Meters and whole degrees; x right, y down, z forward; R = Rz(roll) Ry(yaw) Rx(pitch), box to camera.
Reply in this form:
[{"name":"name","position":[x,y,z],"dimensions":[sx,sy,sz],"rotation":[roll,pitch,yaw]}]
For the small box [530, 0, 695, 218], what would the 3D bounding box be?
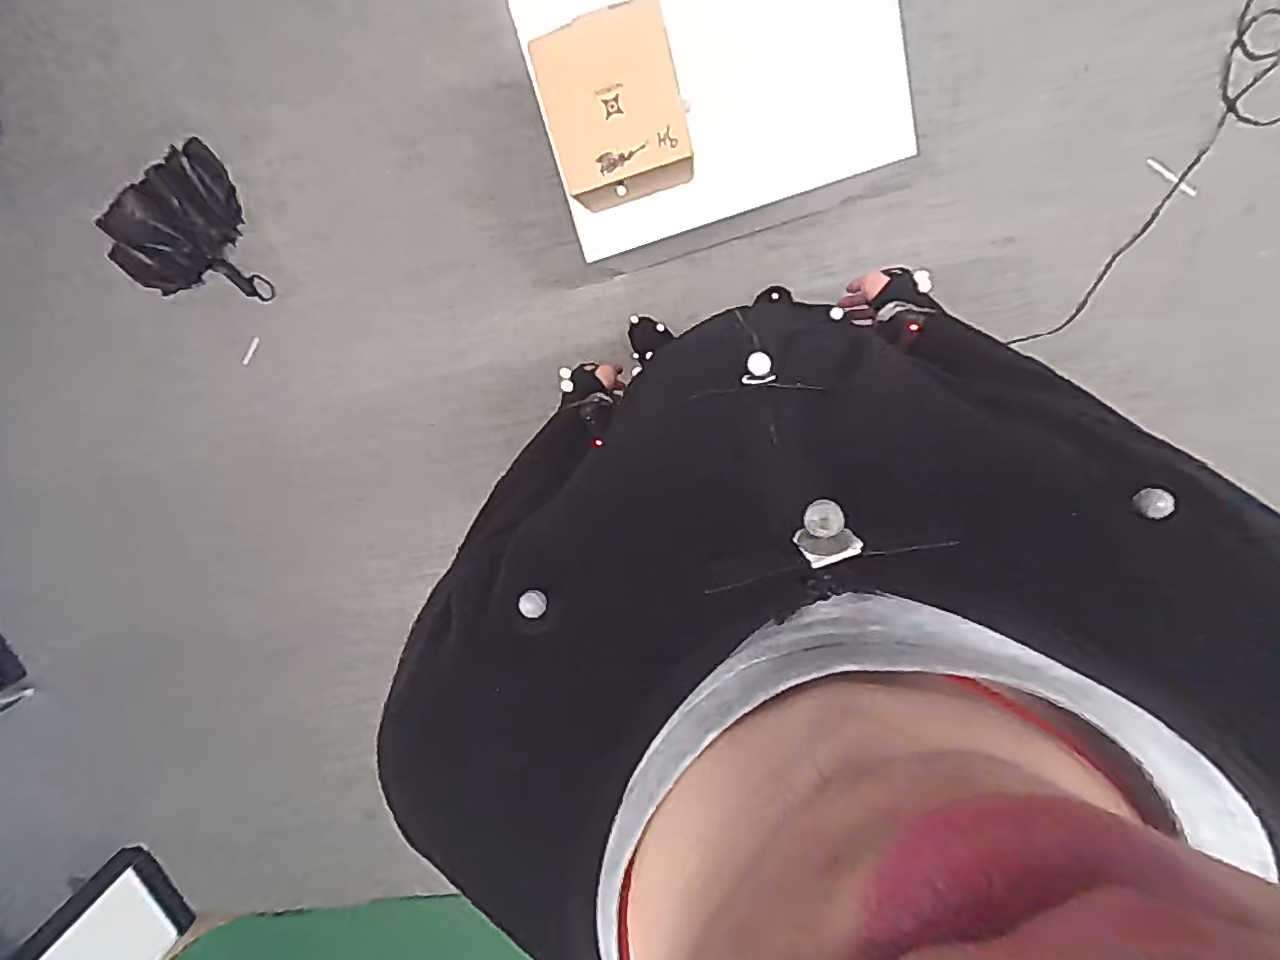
[{"name":"small box","position":[-0.027,-0.480,0.730],"dimensions":[0.168,0.176,0.179],"rotation":[-14,106,10]}]
